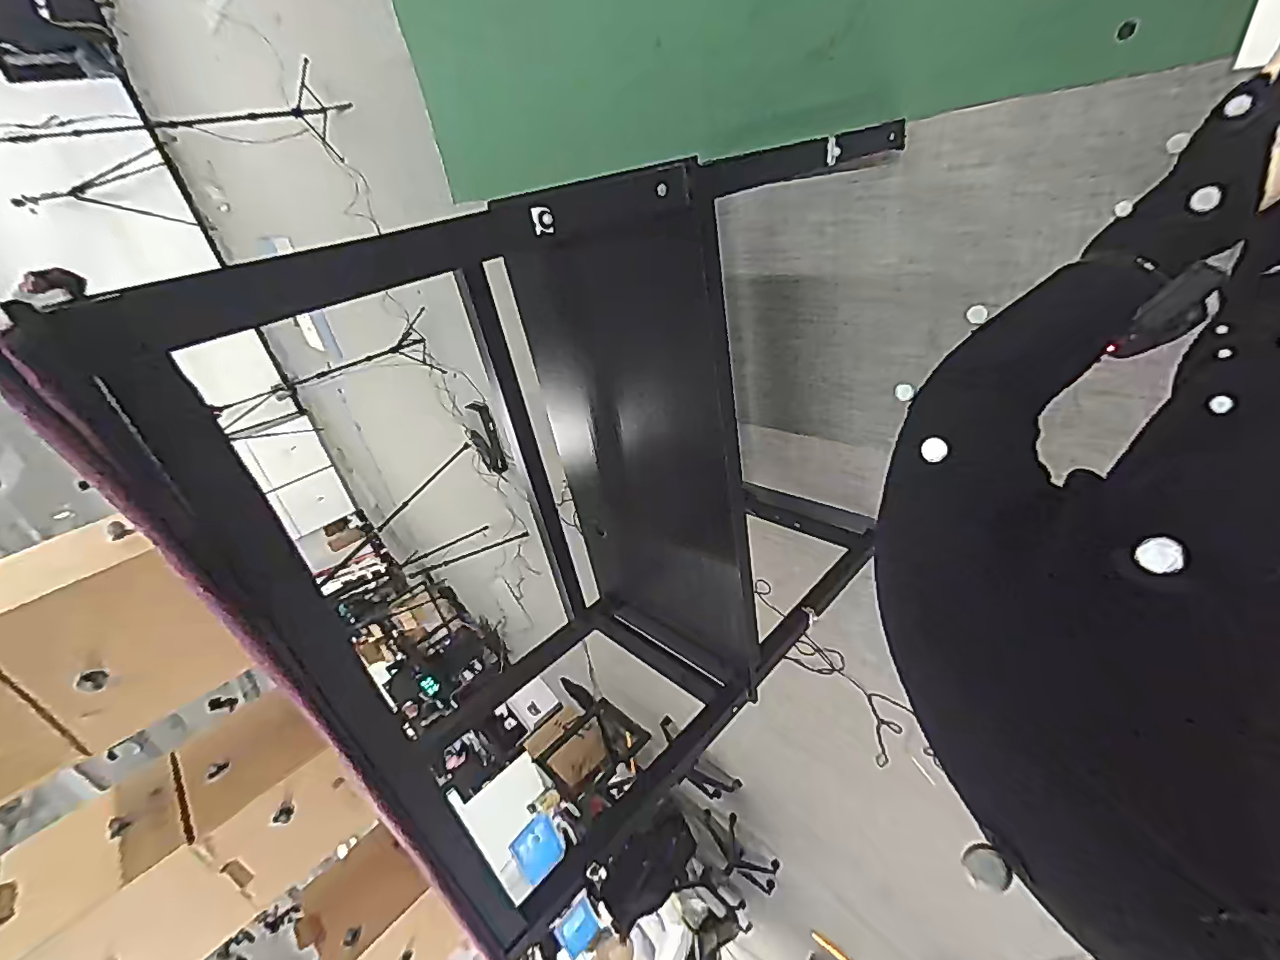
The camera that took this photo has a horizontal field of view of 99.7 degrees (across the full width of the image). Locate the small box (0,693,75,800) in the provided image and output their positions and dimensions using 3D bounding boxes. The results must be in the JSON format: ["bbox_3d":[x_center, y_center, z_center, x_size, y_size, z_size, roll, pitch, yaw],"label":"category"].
[{"bbox_3d":[-0.674,0.217,0.508,0.168,0.176,0.179,22,133,45],"label":"small box"}]

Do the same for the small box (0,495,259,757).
[{"bbox_3d":[-0.552,0.145,0.587,0.168,0.176,0.179,22,133,46],"label":"small box"}]

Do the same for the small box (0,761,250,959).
[{"bbox_3d":[-0.606,0.487,0.644,0.168,0.176,0.179,21,132,41],"label":"small box"}]

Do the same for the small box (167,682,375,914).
[{"bbox_3d":[-0.488,0.414,0.733,0.179,0.176,0.168,22,132,43],"label":"small box"}]
